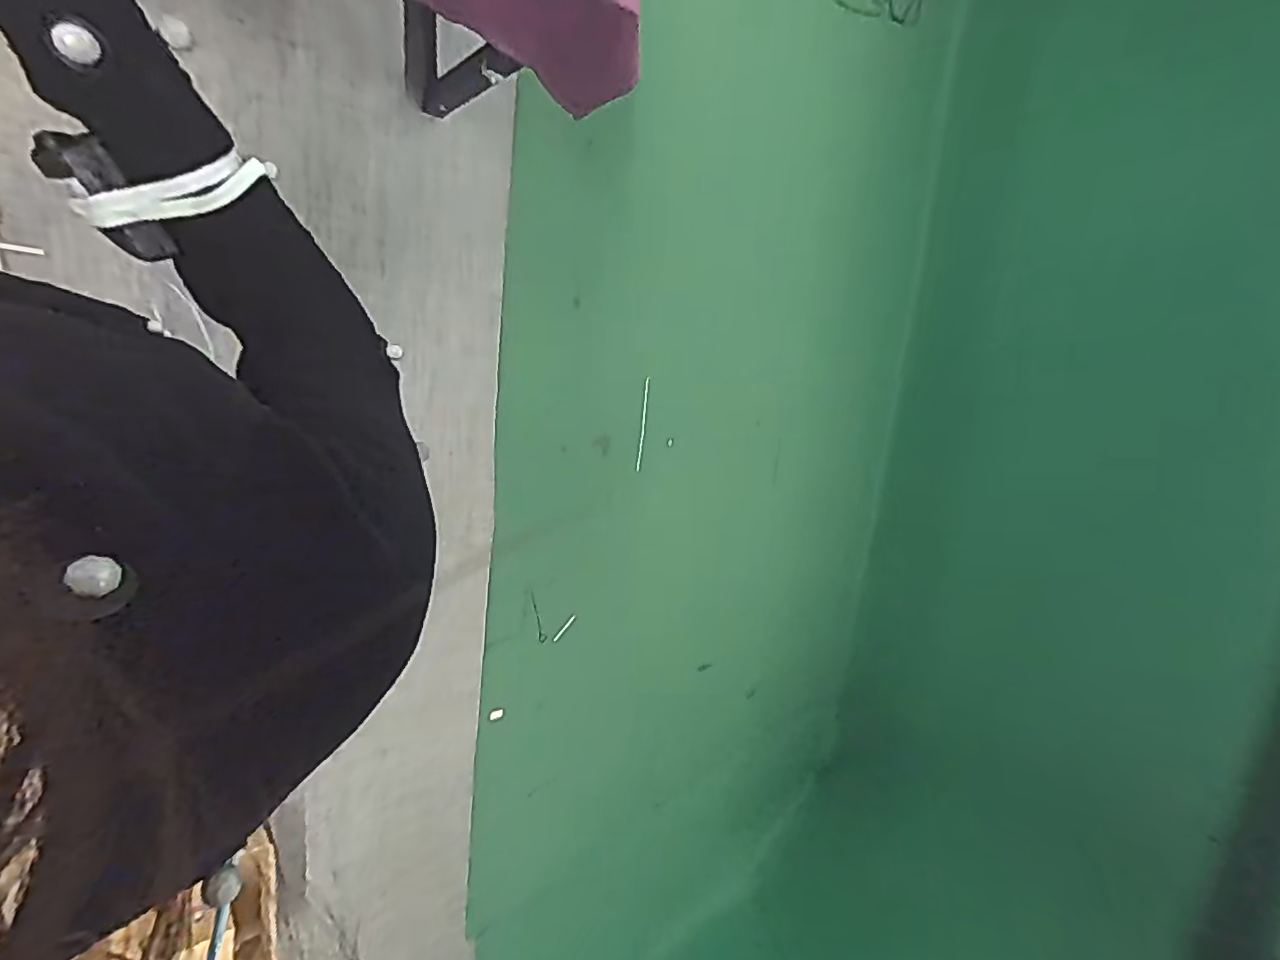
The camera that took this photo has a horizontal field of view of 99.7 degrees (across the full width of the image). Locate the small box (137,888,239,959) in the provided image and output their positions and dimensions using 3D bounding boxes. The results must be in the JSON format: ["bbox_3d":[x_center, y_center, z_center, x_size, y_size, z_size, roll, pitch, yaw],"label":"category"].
[{"bbox_3d":[-1.050,1.098,1.251,0.168,0.176,0.179,1,100,-45],"label":"small box"}]
